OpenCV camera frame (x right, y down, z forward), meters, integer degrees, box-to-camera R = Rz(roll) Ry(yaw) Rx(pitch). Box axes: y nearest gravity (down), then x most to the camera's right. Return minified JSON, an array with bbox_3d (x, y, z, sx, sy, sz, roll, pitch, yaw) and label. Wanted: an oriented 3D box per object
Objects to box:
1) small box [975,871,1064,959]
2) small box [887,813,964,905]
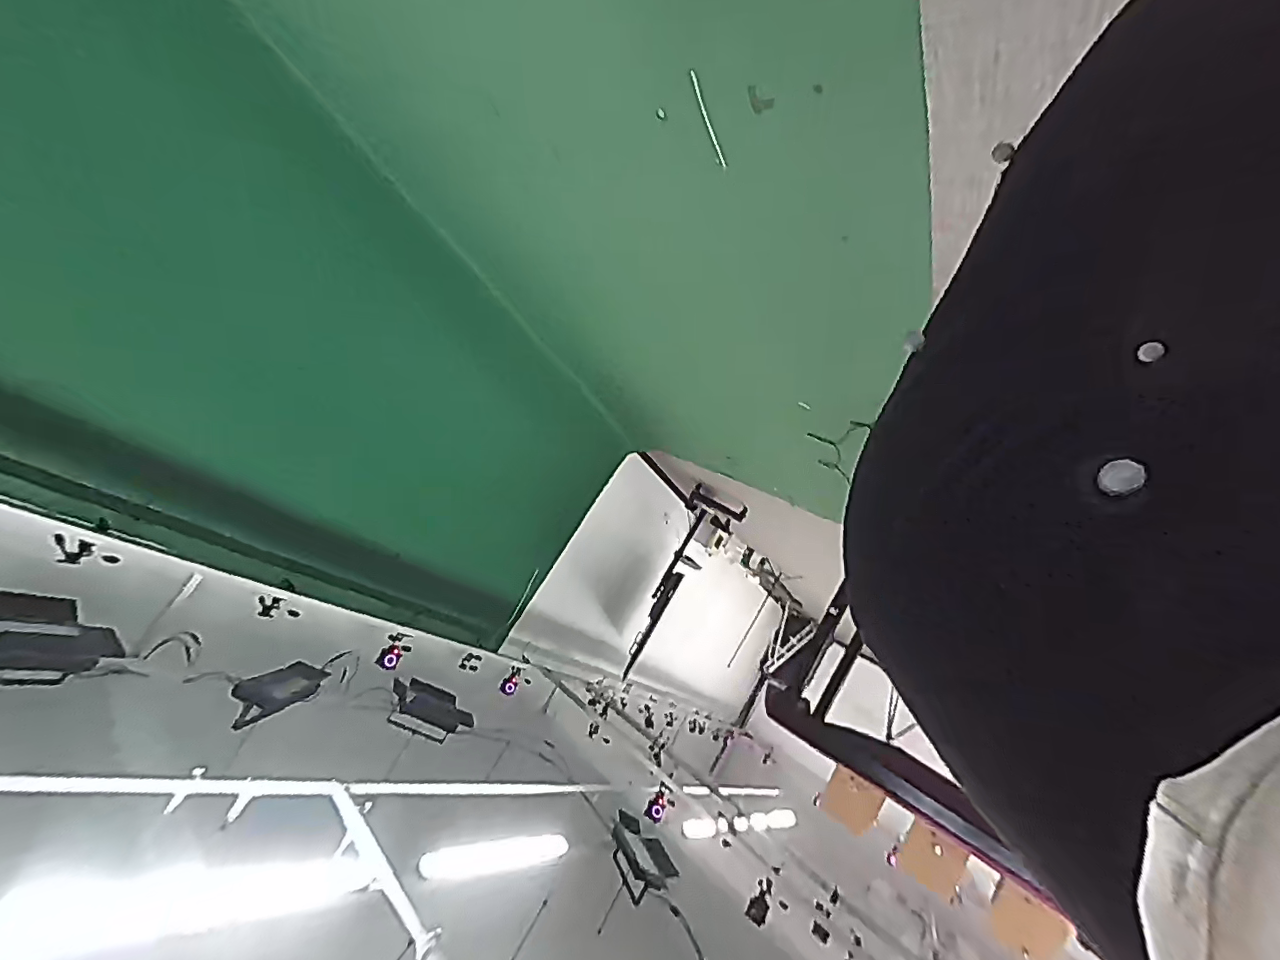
[{"bbox_3d":[1.094,1.276,1.565,0.168,0.176,0.179,24,168,38],"label":"small box"},{"bbox_3d":[0.912,1.194,1.721,0.168,0.176,0.179,24,167,37],"label":"small box"}]
